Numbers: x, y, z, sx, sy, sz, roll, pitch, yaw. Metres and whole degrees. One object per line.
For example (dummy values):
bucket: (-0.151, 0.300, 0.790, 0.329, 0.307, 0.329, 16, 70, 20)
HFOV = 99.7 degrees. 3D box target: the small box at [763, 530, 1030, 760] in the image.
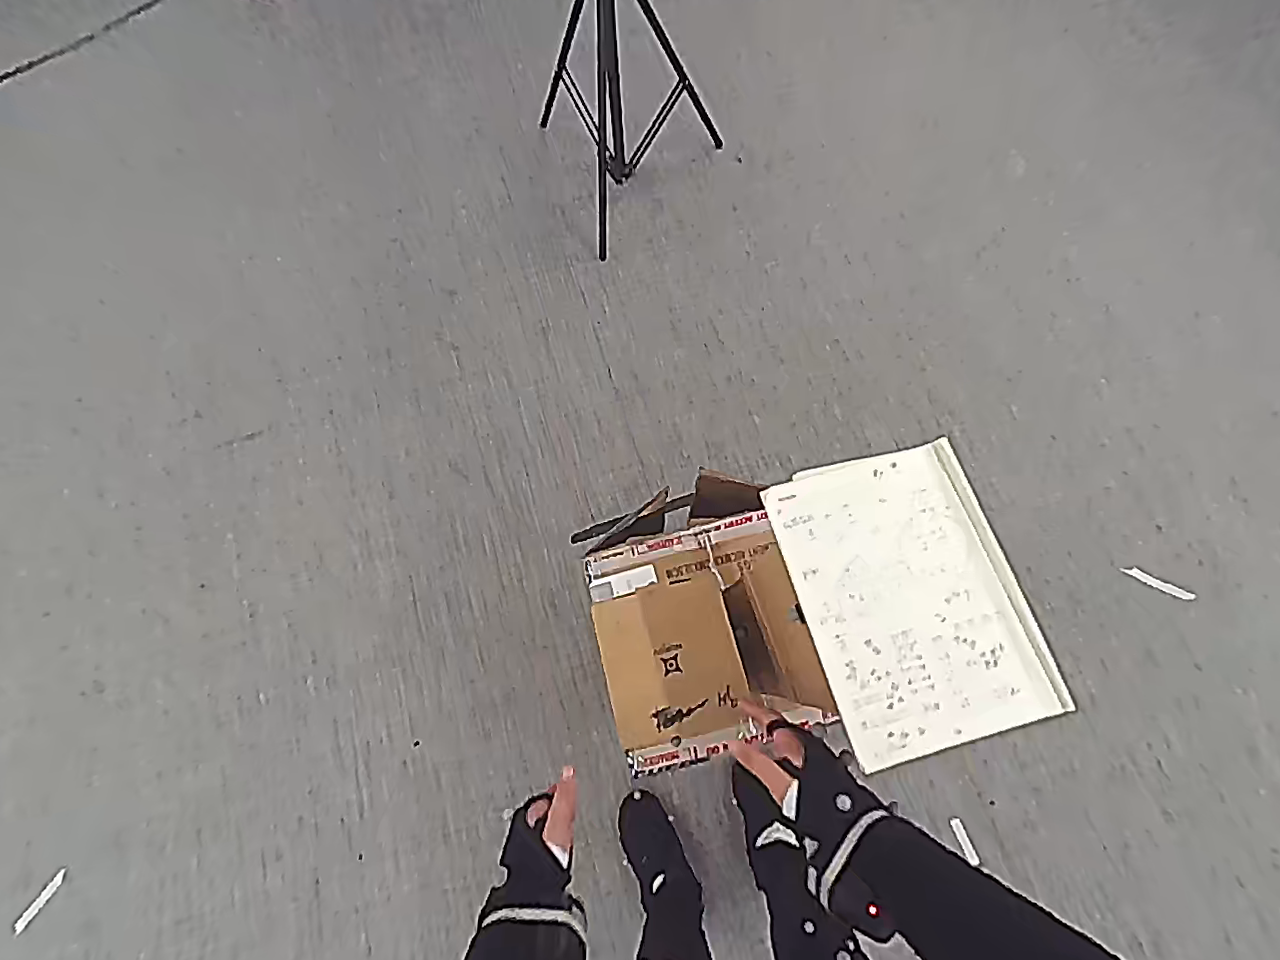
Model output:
small box: (0.247, 0.171, 0.575, 0.168, 0.176, 0.179, -14, 73, -5)
